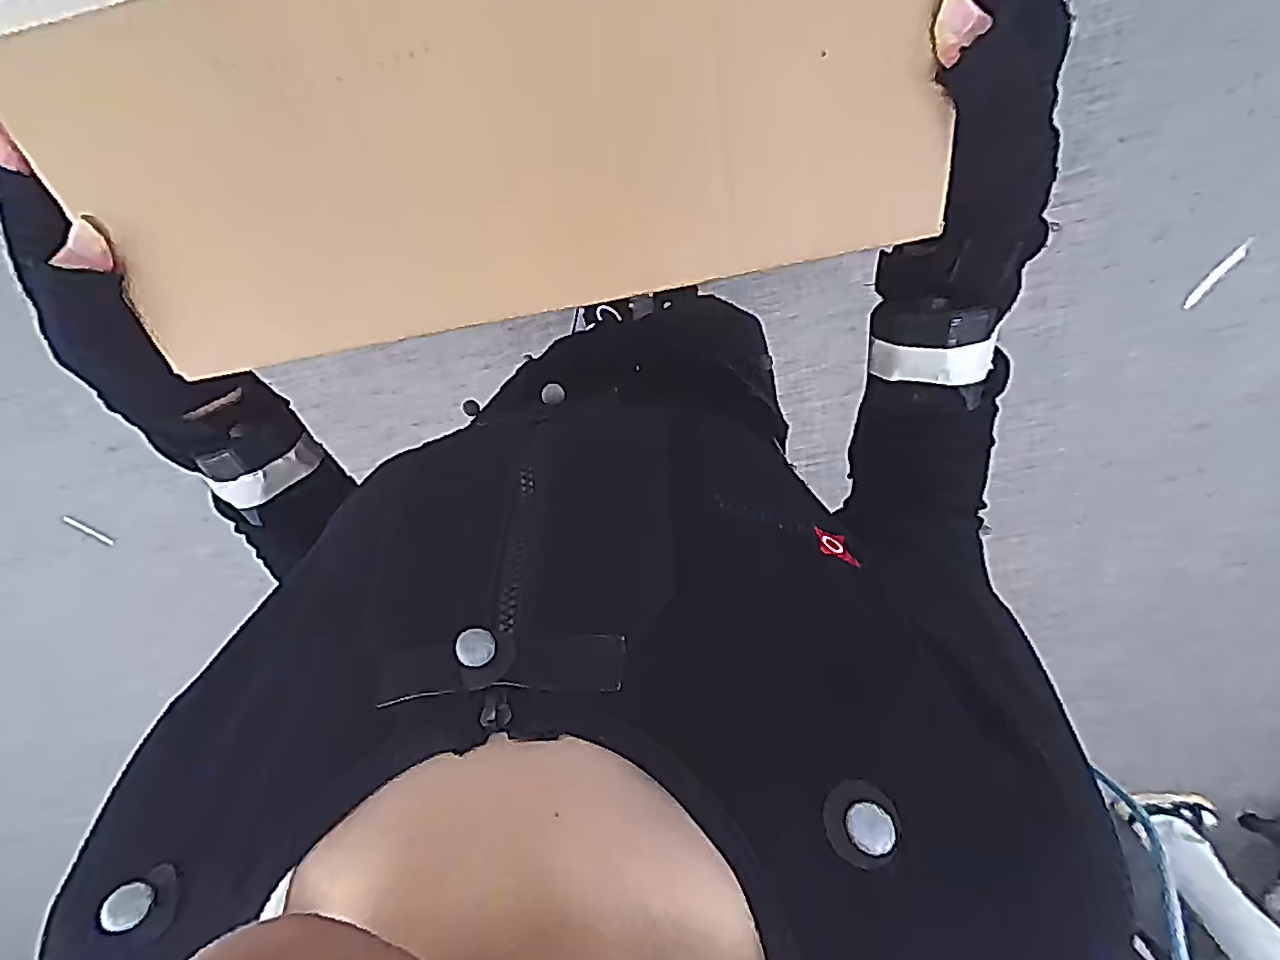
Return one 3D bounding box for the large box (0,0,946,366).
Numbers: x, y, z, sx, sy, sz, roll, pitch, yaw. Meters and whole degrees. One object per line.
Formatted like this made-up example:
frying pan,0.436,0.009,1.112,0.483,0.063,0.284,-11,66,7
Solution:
large box,-0.081,-0.302,0.337,0.408,0.320,0.320,-10,122,5
